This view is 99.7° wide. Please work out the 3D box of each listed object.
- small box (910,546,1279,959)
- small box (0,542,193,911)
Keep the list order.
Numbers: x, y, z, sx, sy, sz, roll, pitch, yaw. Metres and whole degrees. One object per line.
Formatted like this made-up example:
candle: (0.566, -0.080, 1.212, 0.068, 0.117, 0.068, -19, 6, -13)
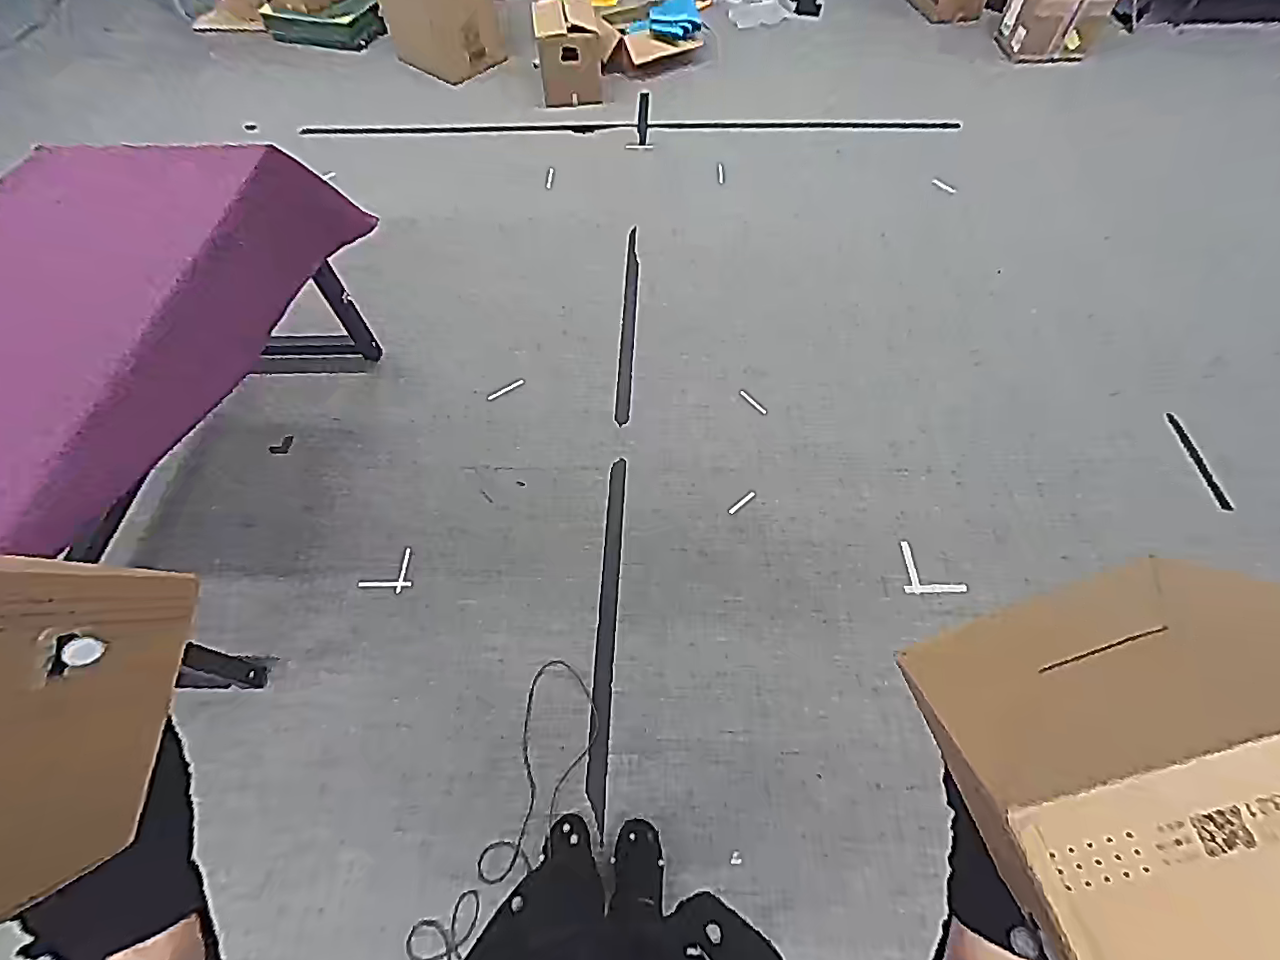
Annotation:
small box: (0.256, 0.146, 0.252, 0.168, 0.179, 0.176, -25, 87, 12)
small box: (-0.371, 0.110, 0.254, 0.168, 0.179, 0.176, 7, 79, -3)
